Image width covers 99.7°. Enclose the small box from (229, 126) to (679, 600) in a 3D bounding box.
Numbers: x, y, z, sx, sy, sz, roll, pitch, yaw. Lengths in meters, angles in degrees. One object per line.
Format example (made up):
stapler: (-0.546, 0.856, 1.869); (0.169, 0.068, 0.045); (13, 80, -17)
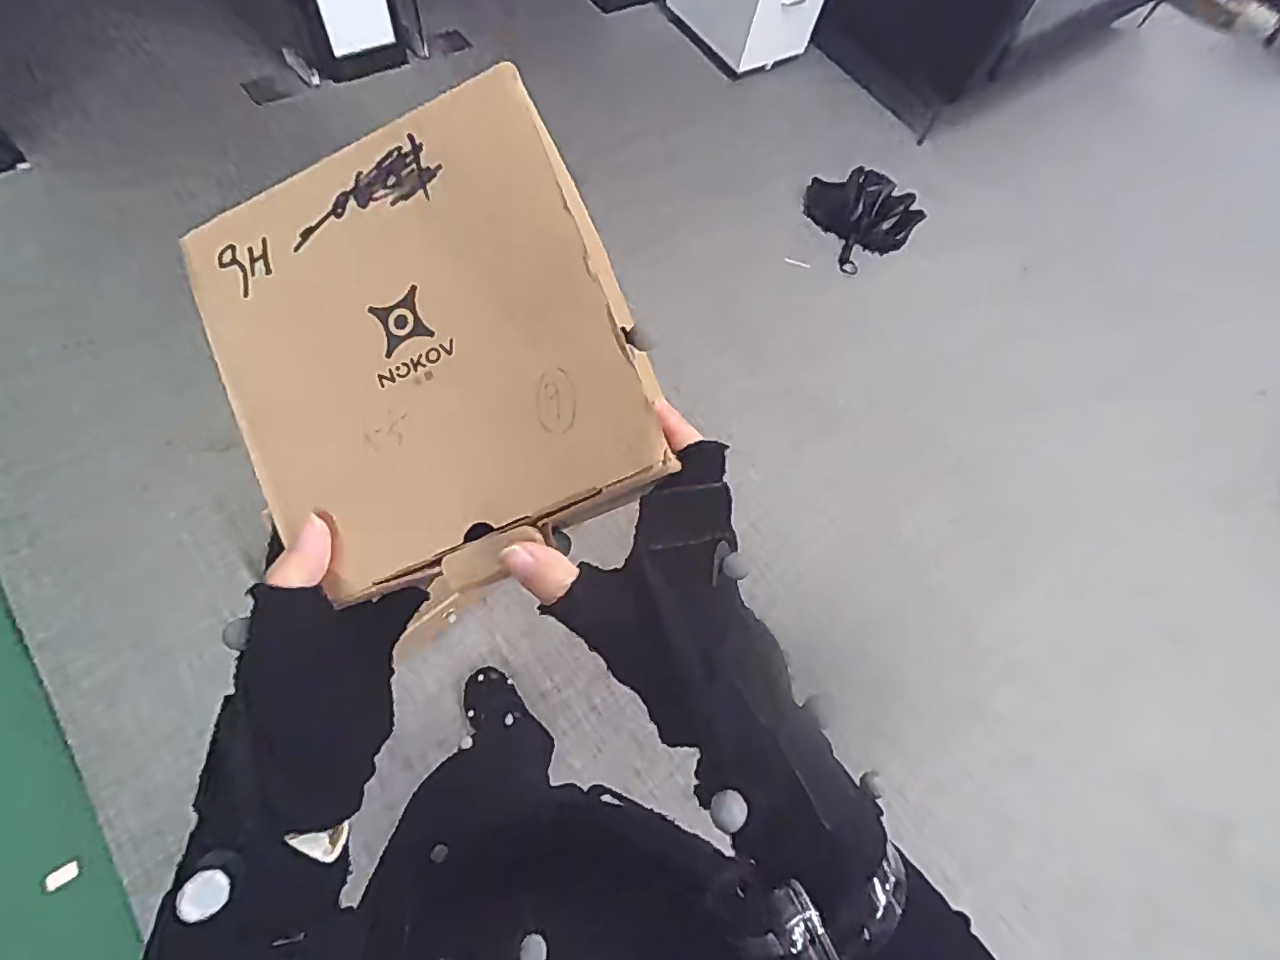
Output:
small box: (-0.086, -0.052, 0.331); (0.168, 0.176, 0.179); (-25, 85, 8)
